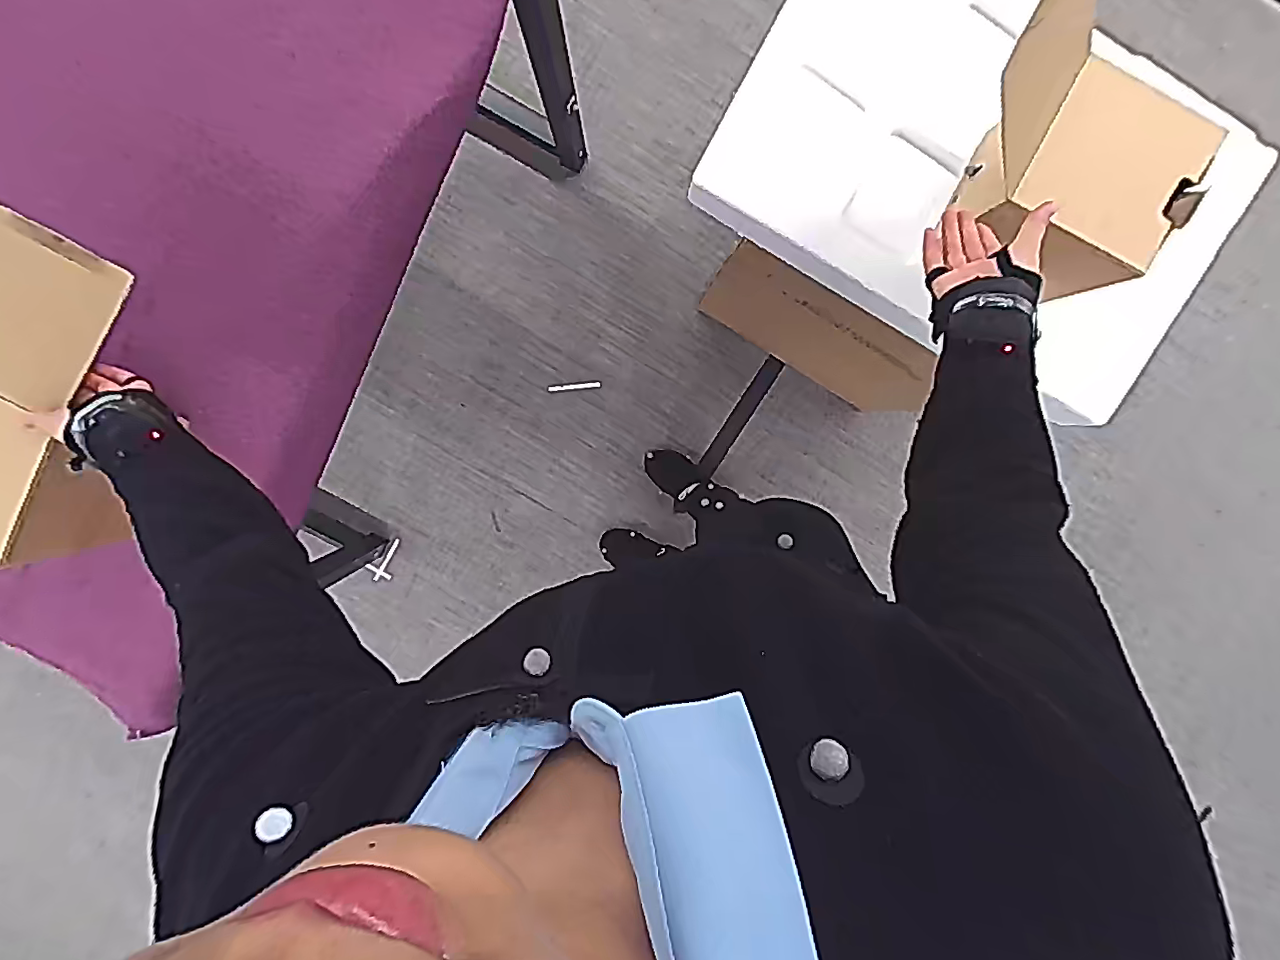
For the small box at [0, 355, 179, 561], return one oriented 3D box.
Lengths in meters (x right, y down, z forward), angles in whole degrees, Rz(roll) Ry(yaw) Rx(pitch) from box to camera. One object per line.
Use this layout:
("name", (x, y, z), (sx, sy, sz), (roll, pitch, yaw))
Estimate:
("small box", (-0.702, -0.037, 0.632), (0.168, 0.176, 0.179), (29, 96, -3))
